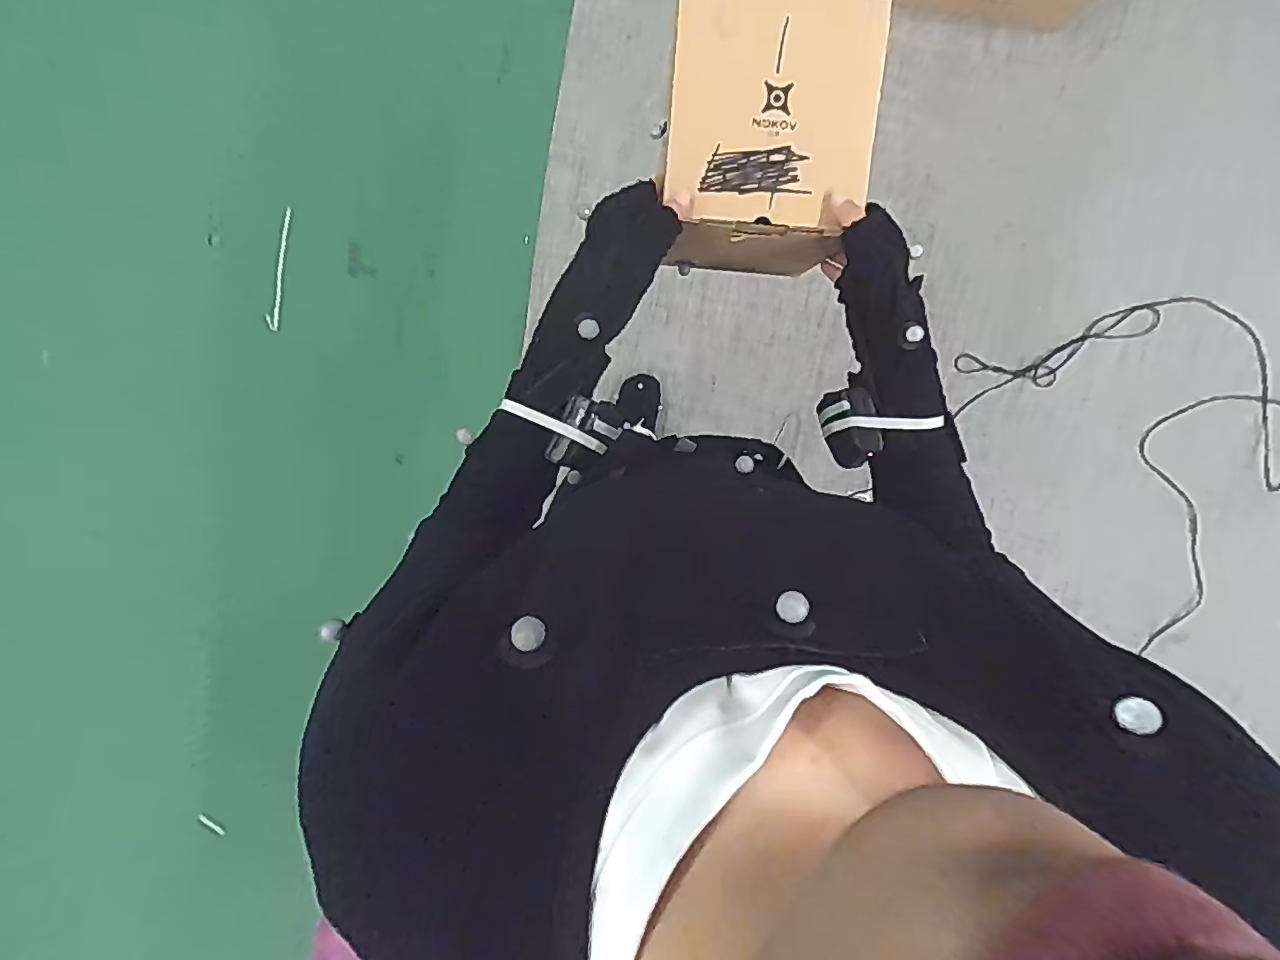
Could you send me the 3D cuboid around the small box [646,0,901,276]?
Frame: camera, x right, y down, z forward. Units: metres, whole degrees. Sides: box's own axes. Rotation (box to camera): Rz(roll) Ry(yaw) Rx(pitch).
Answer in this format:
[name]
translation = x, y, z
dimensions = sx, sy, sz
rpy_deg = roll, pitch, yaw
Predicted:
[small box]
translation = 0.101, -0.301, 0.497
dimensions = 0.168, 0.176, 0.179
rpy_deg = 9, 99, -6
